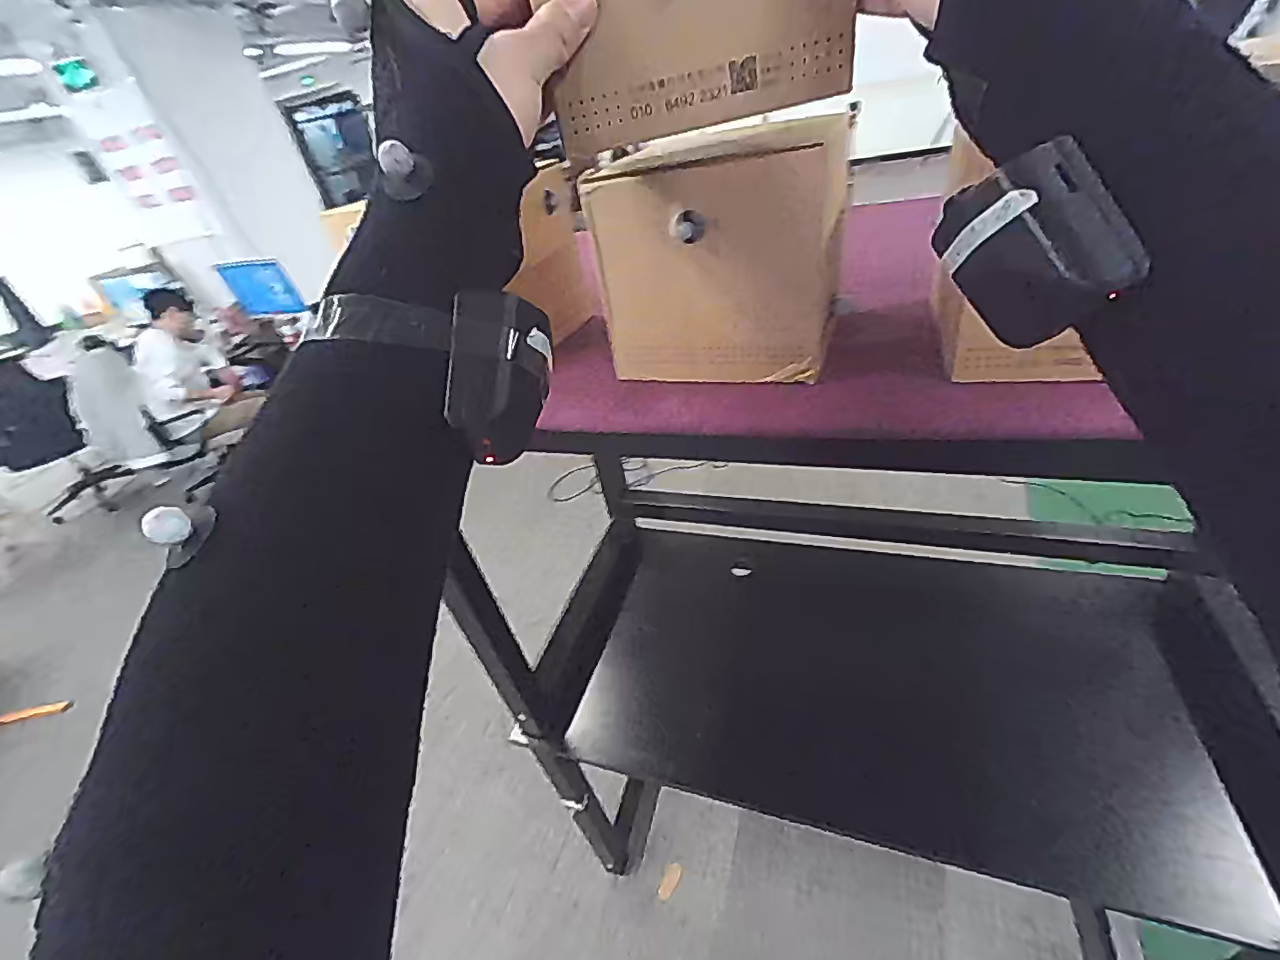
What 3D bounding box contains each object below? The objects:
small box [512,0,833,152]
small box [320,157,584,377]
[{"bbox_3d":[0.008,-0.312,0.317,0.168,0.176,0.179,-11,39,4],"label":"small box"},{"bbox_3d":[-0.178,-0.219,0.570,0.168,0.176,0.179,7,39,25],"label":"small box"}]
